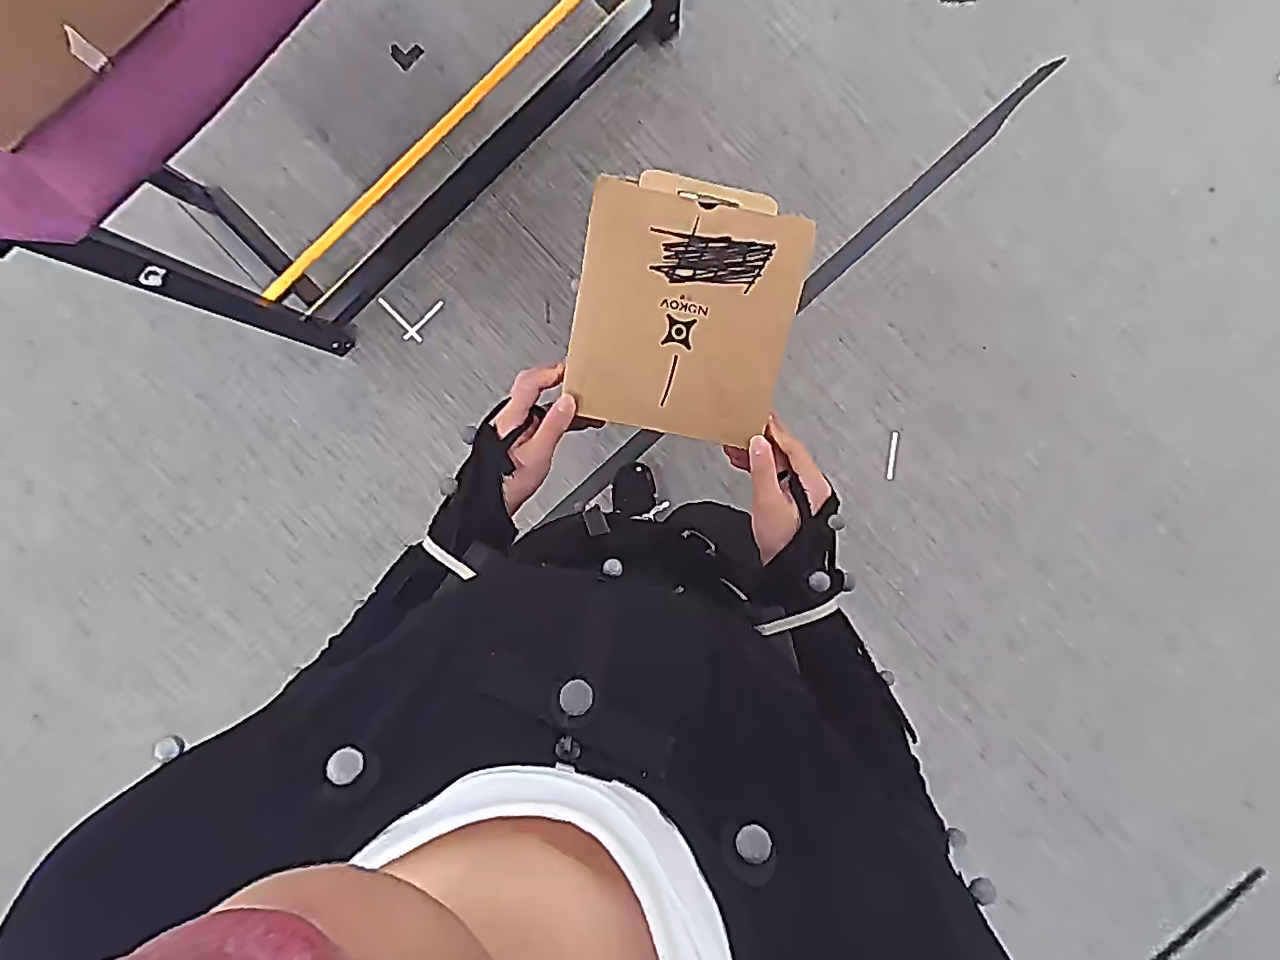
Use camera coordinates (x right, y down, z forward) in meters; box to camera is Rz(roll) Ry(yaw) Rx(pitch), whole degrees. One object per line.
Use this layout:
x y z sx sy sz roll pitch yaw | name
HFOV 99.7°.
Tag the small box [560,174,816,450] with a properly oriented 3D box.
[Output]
0.034 -0.140 0.488 0.168 0.176 0.179 12 103 -1 | small box
